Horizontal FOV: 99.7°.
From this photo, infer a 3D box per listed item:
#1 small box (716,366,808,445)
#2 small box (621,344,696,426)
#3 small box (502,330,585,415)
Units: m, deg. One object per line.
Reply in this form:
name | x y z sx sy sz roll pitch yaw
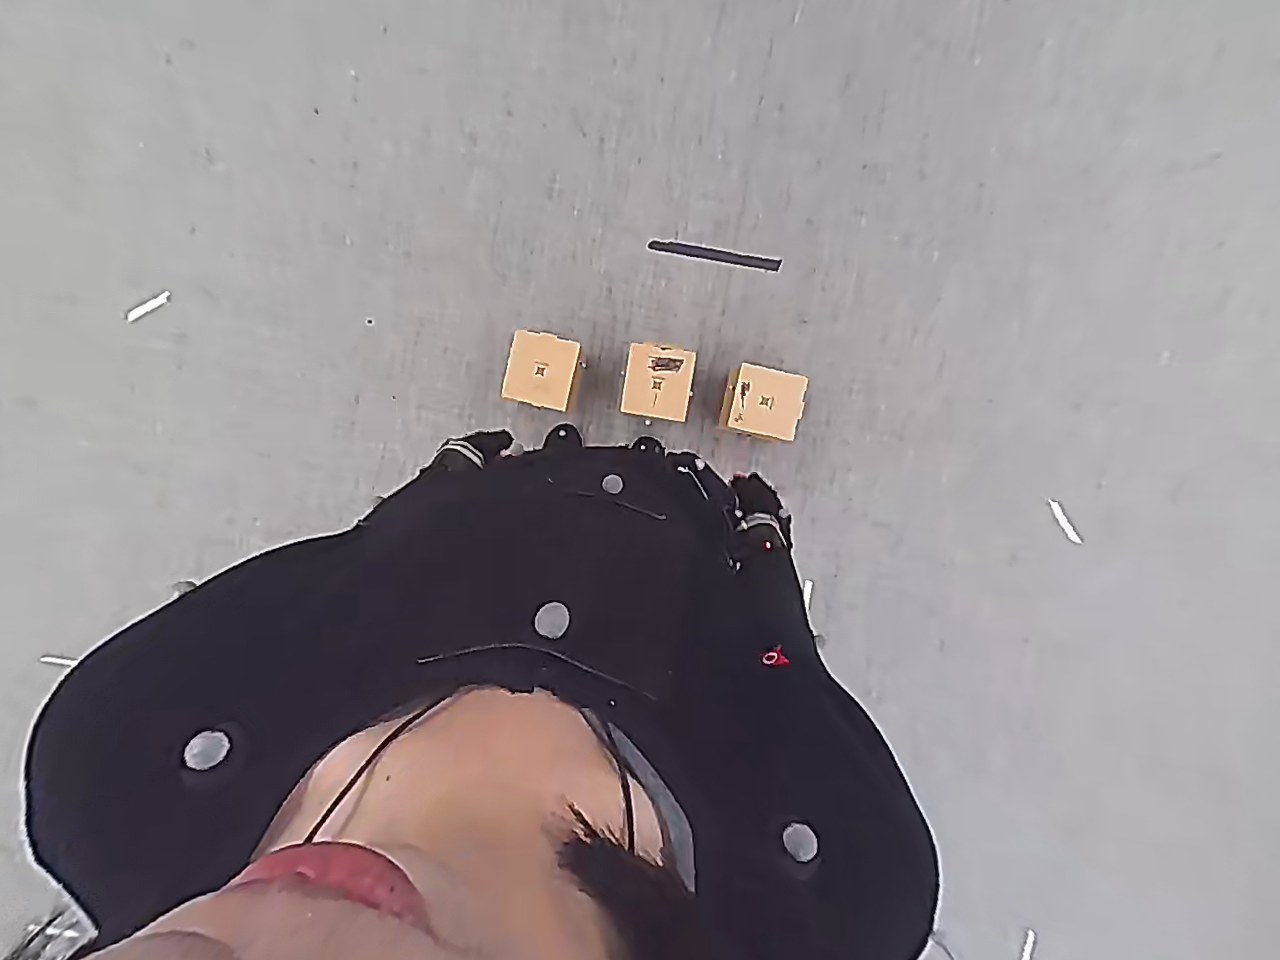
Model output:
small box | 0.315 -0.193 1.425 0.179 0.176 0.168 13 94 -3
small box | 0.043 -0.241 1.413 0.168 0.176 0.179 9 95 -2
small box | -0.243 -0.272 1.407 0.168 0.176 0.179 13 95 -1
